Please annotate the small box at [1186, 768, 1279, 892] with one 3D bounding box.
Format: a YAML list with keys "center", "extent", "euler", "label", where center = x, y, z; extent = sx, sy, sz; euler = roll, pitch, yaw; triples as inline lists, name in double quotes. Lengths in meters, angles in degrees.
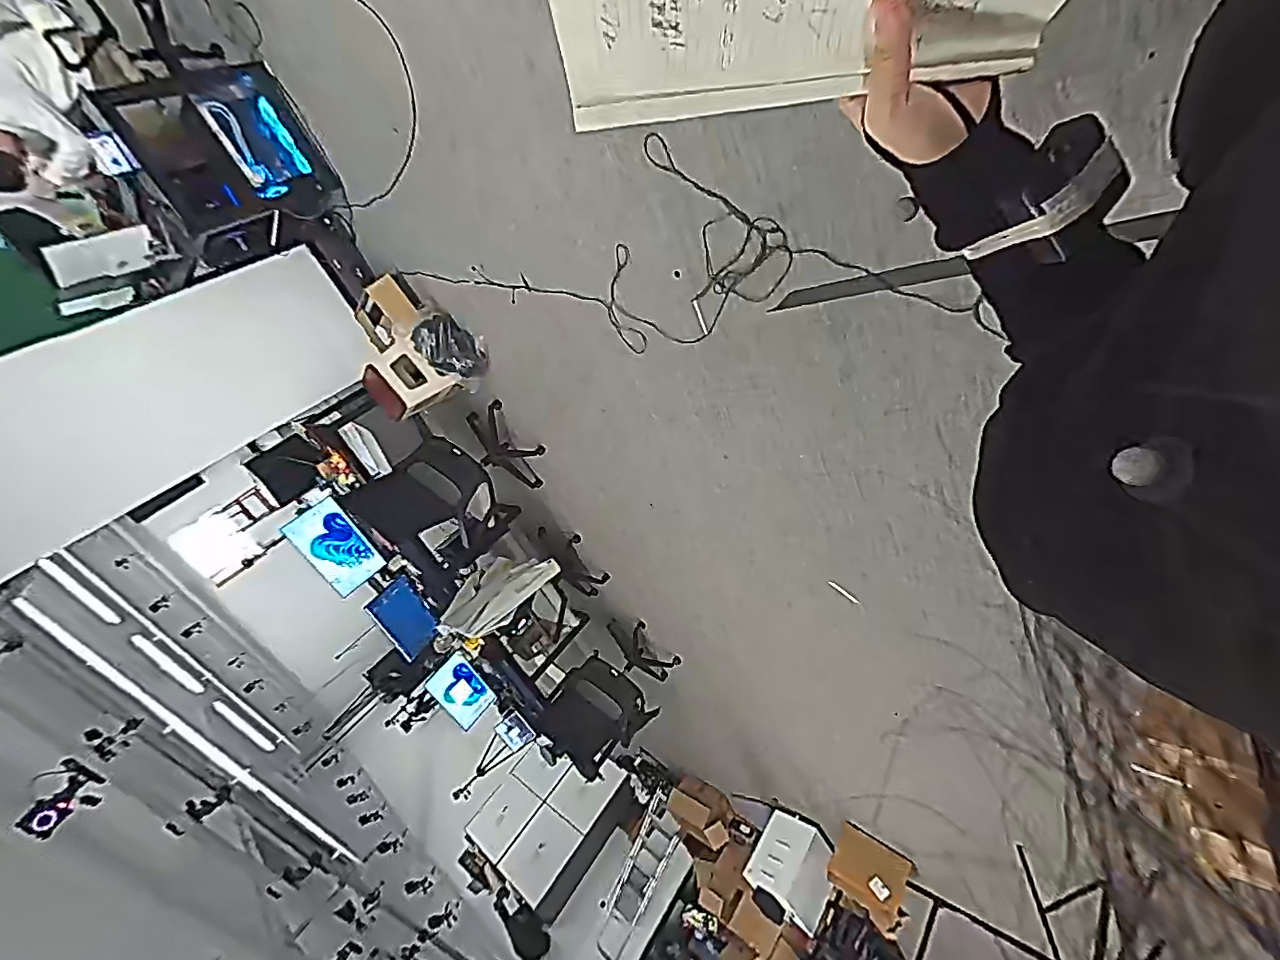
- center: [1.481, 0.861, 1.346]
  extent: [0.168, 0.176, 0.179]
  euler: [1, 128, 49]
  label: "small box"
